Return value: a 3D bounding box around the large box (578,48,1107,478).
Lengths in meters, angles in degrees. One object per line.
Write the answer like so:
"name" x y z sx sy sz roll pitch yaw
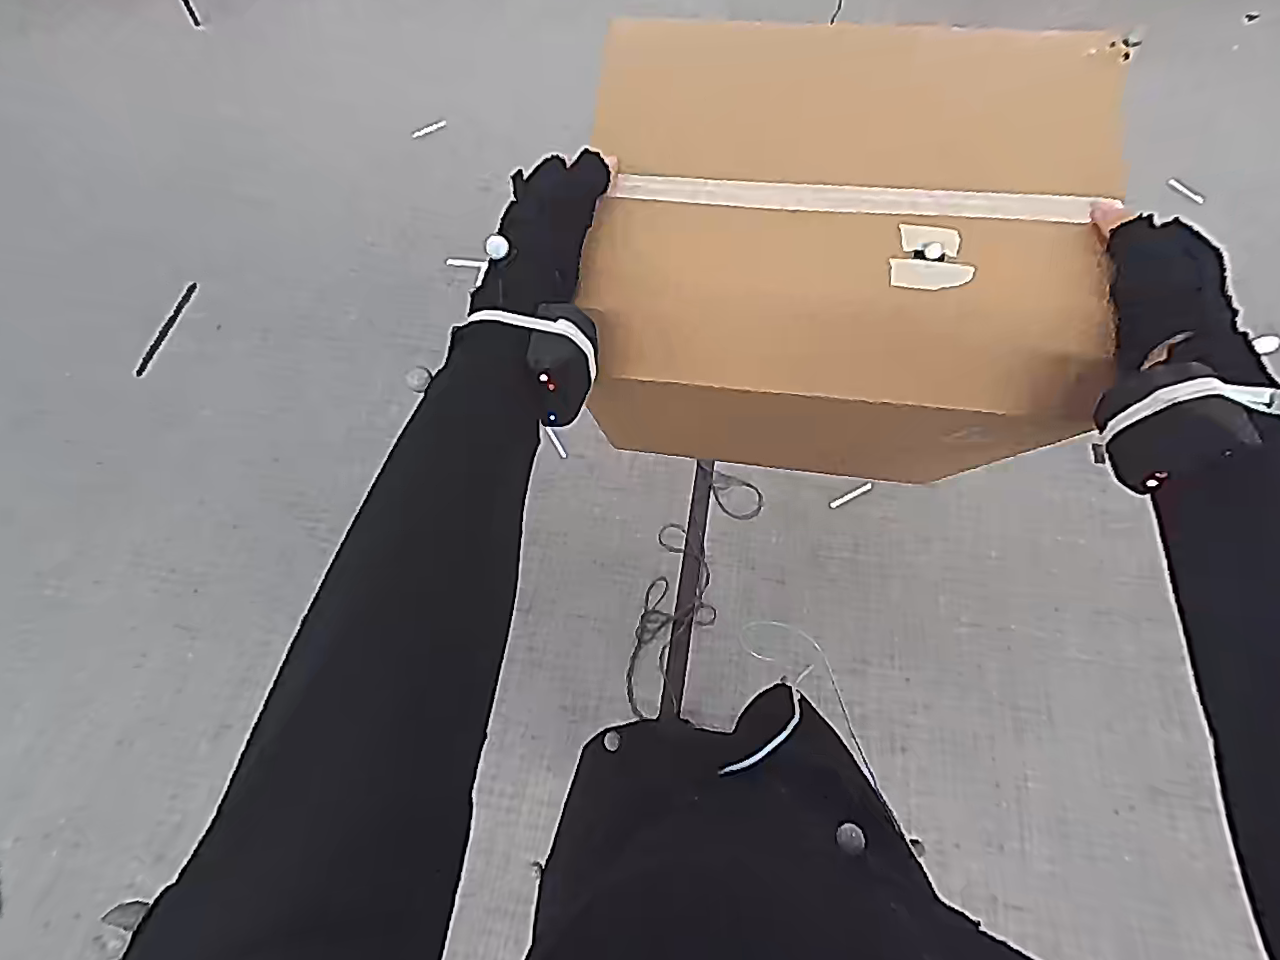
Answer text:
"large box" 0.172 -0.191 0.584 0.408 0.320 0.320 7 83 6
